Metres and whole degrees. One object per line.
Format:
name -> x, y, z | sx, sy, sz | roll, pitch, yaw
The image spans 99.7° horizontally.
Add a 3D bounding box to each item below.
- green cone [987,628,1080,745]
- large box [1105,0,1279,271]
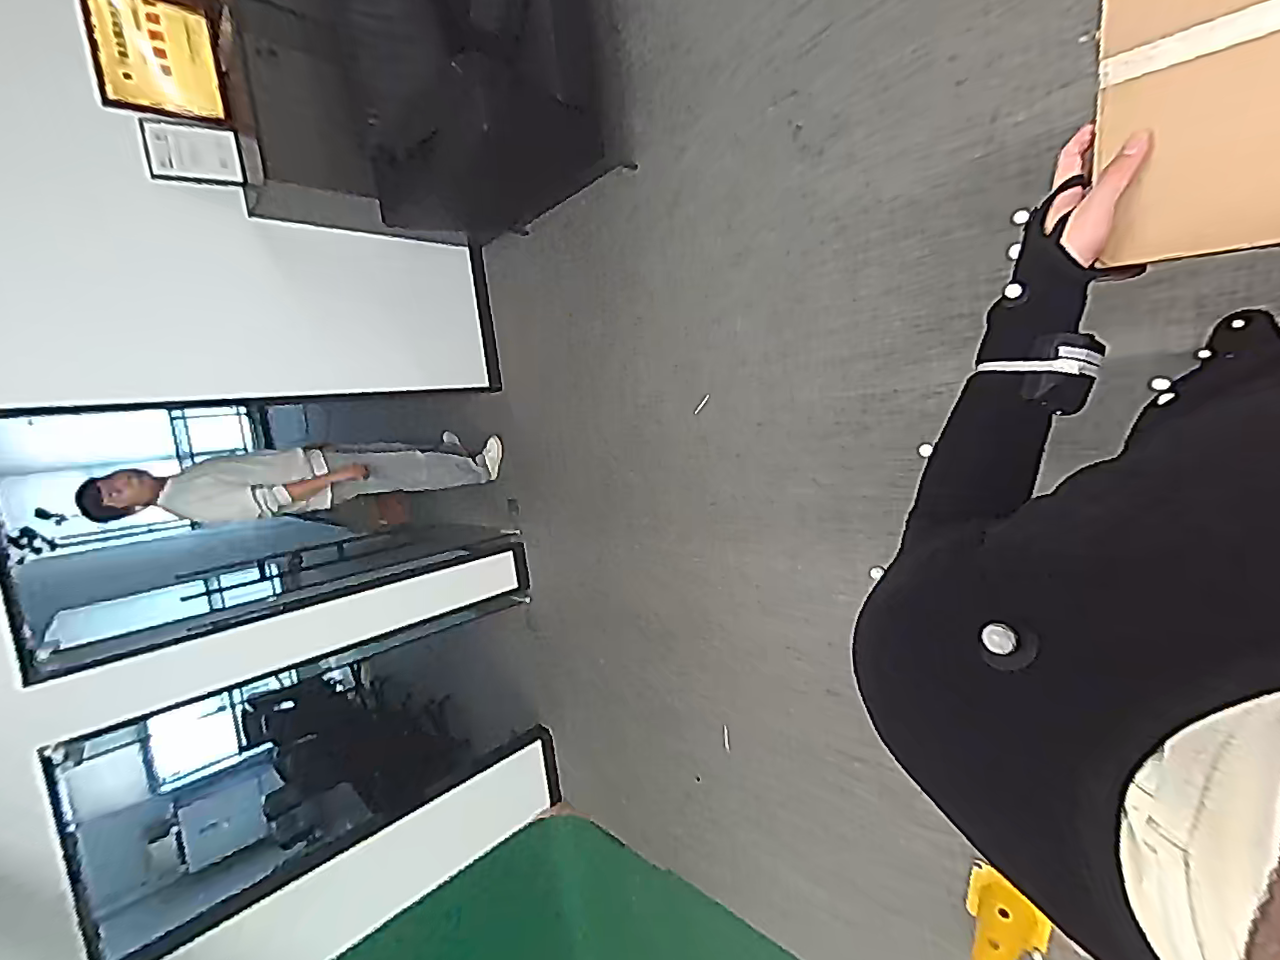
green cone -> 0.932, 0.543, 1.341 | 0.200, 0.368, 0.202 | 8, 106, 46
large box -> 0.642, -0.365, 0.414 | 0.408, 0.320, 0.320 | 6, 111, 46
